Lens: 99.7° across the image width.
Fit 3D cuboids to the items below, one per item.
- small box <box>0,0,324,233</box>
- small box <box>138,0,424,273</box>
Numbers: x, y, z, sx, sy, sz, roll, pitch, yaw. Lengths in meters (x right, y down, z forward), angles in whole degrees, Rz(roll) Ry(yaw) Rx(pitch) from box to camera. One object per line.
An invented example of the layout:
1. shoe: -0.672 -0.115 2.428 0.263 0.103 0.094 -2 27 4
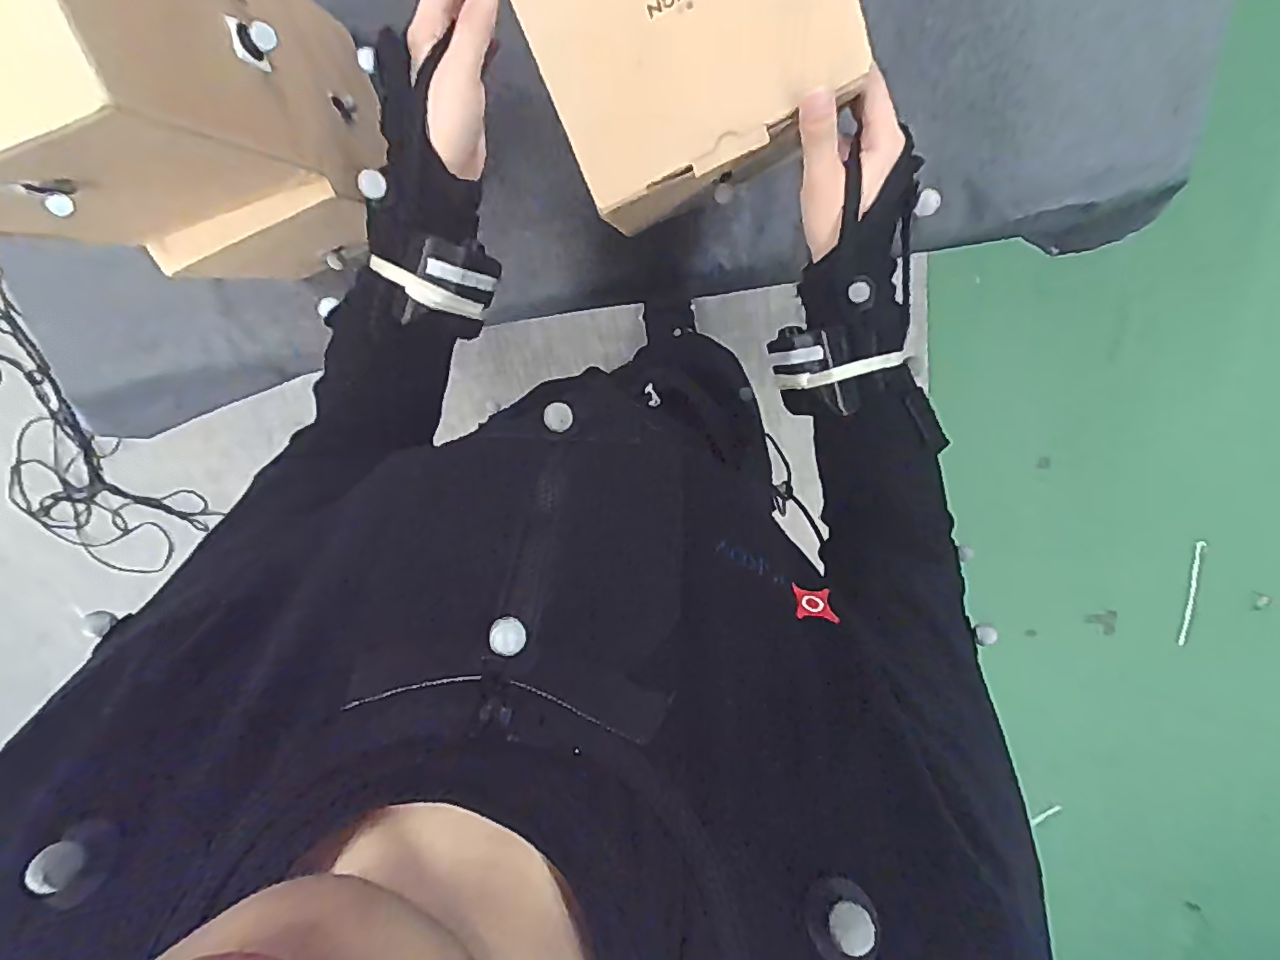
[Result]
1. small box: -0.330 -0.251 0.302 0.179 0.176 0.168 -15 110 9
2. small box: -0.321 -0.291 0.461 0.168 0.176 0.179 -18 108 10
